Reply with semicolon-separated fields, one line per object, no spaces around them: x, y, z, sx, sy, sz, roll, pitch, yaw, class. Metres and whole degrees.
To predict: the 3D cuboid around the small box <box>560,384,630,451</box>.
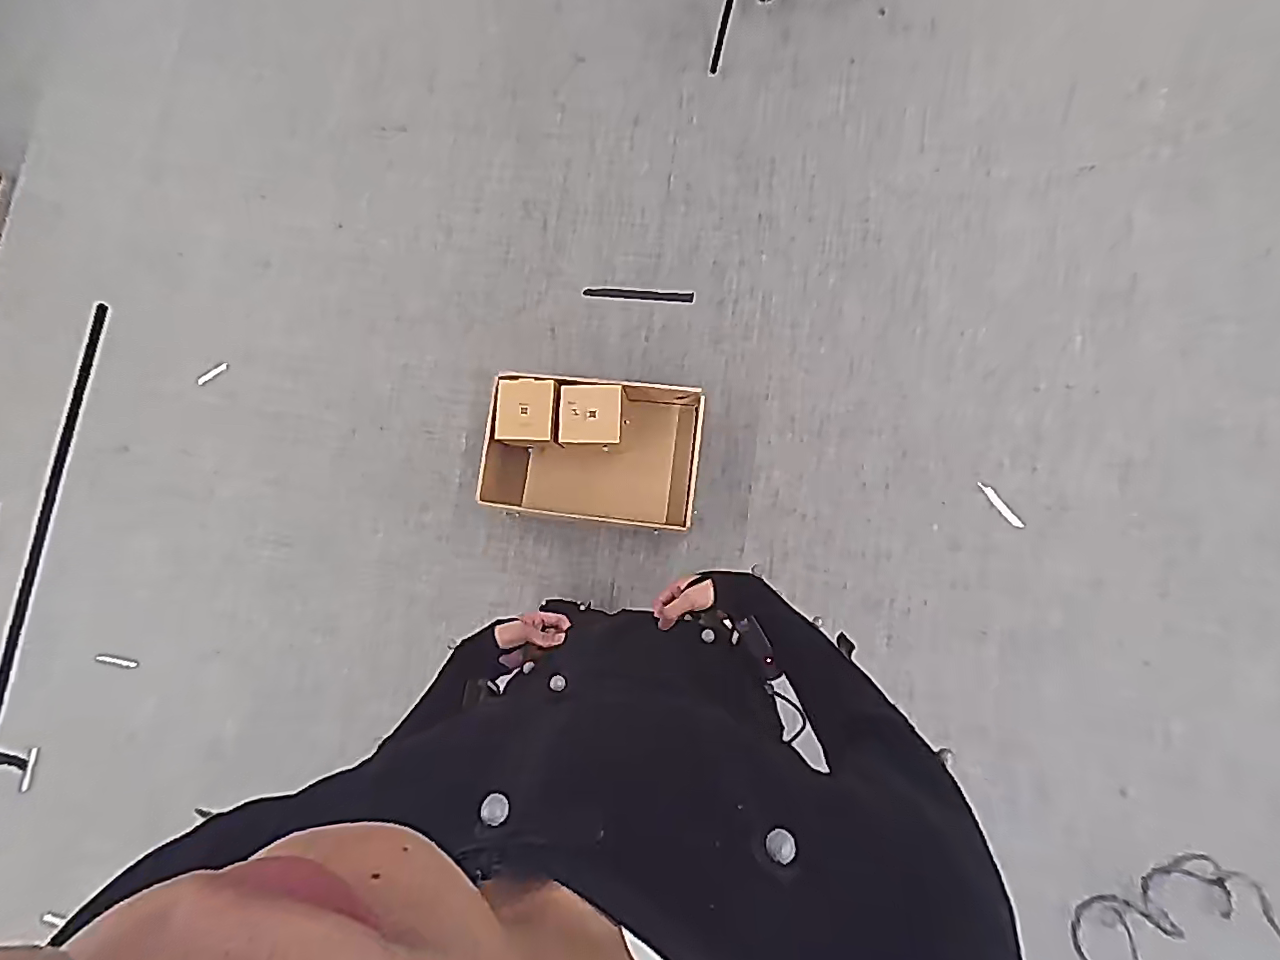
-0.126;-0.178;1.575;0.179;0.176;0.168;1;84;6;small box
